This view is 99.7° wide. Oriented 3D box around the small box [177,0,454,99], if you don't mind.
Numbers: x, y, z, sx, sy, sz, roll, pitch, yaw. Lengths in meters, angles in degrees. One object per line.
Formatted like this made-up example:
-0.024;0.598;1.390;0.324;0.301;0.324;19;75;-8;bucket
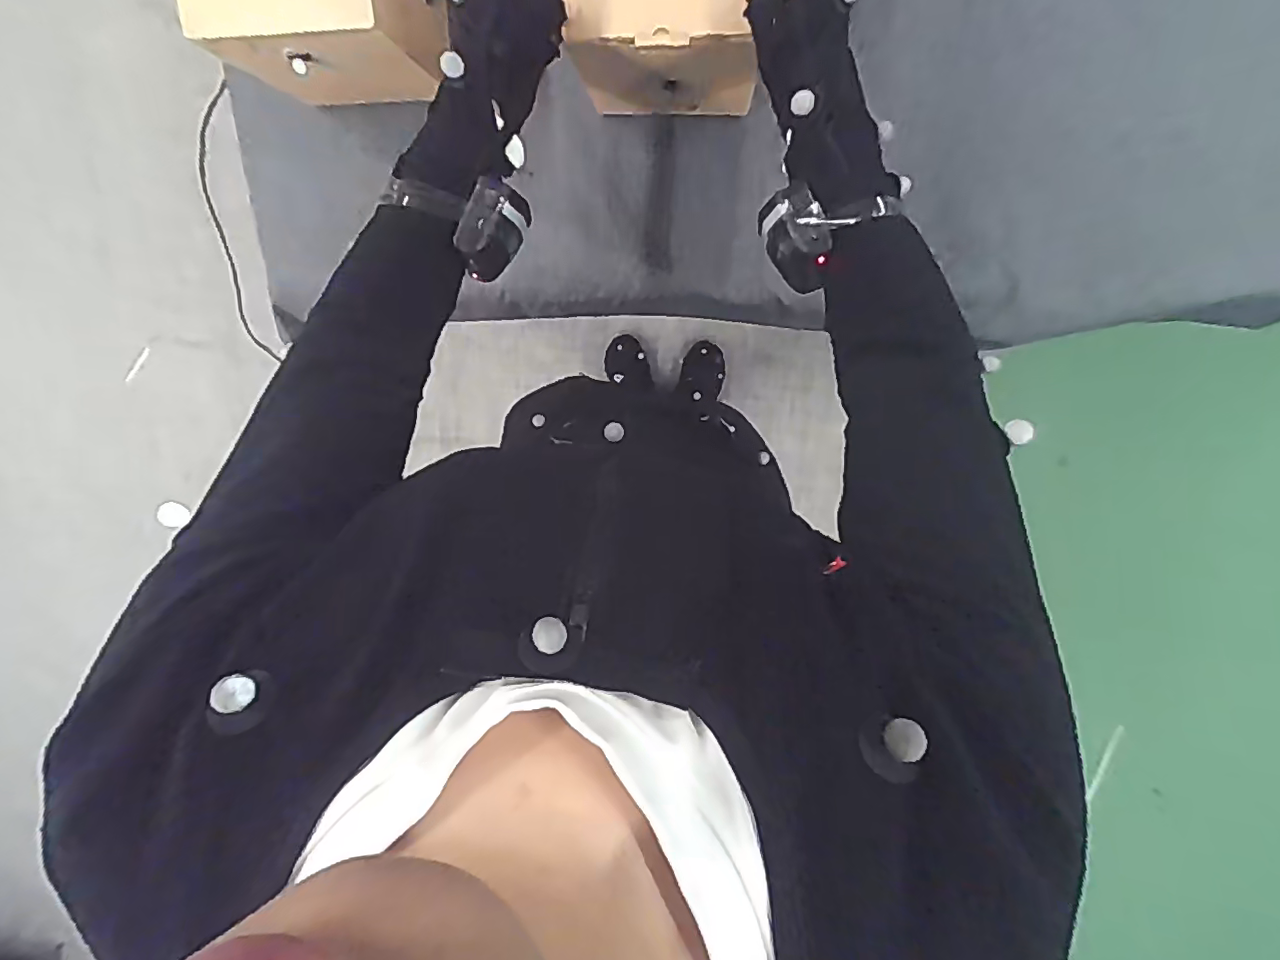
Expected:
-0.298;-0.482;0.508;0.179;0.176;0.168;1;109;4;small box

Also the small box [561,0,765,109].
0.030;-0.456;0.482;0.168;0.176;0.179;4;108;5;small box
